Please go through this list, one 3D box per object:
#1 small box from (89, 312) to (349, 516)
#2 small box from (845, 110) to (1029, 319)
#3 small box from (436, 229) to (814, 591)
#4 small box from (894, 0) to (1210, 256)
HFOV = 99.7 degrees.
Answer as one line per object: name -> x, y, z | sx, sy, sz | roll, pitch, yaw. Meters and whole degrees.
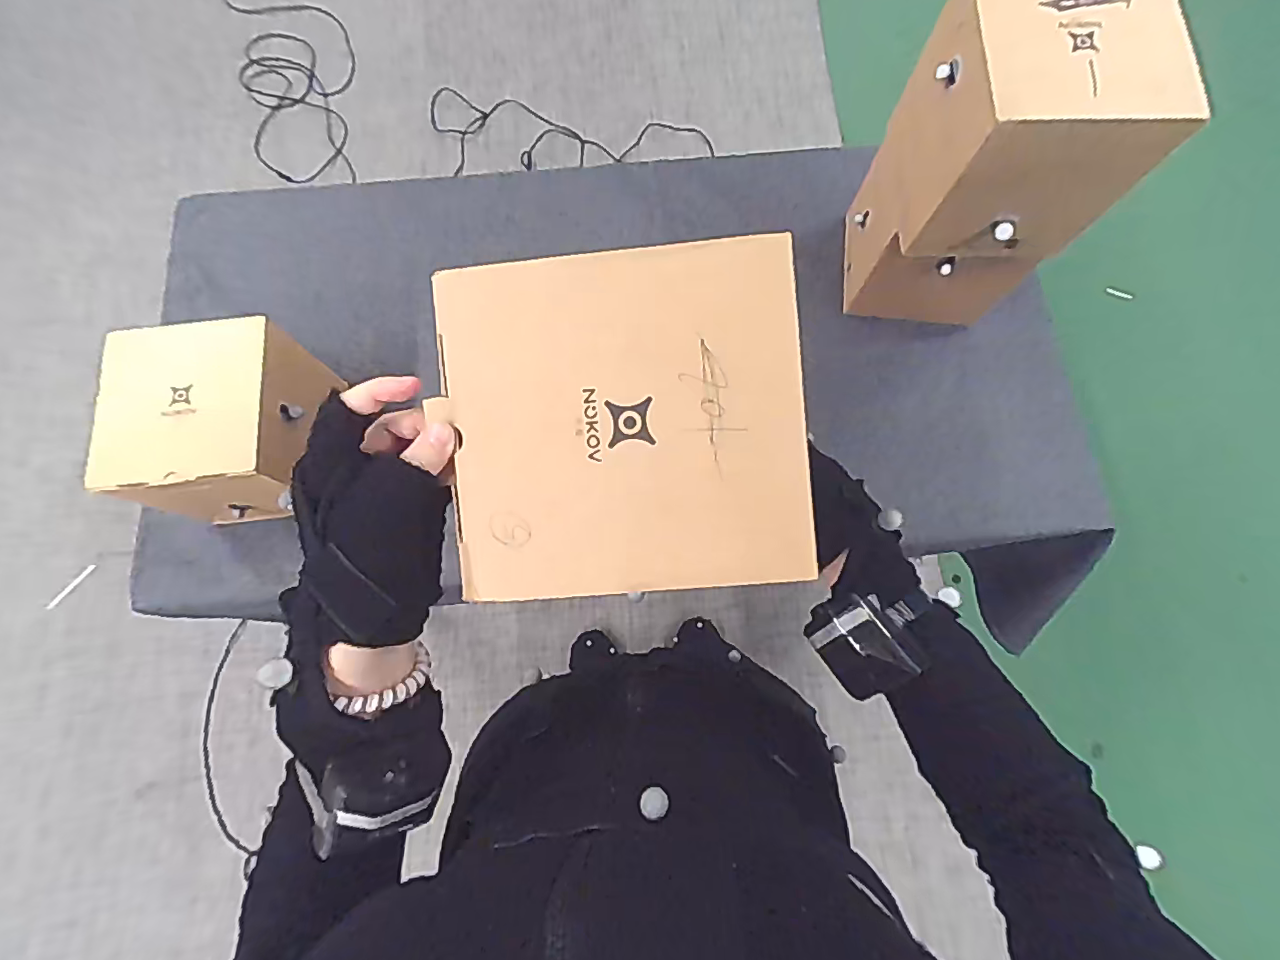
small box -> -0.460, -0.067, 0.623 | 0.168, 0.176, 0.179 | -7, 76, -2
small box -> 0.372, -0.321, 0.680 | 0.179, 0.176, 0.168 | 7, 76, 2
small box -> -0.003, -0.033, 0.339 | 0.179, 0.176, 0.168 | -5, 92, 3
small box -> 0.361, -0.344, 0.516 | 0.168, 0.176, 0.179 | 1, 77, 2
